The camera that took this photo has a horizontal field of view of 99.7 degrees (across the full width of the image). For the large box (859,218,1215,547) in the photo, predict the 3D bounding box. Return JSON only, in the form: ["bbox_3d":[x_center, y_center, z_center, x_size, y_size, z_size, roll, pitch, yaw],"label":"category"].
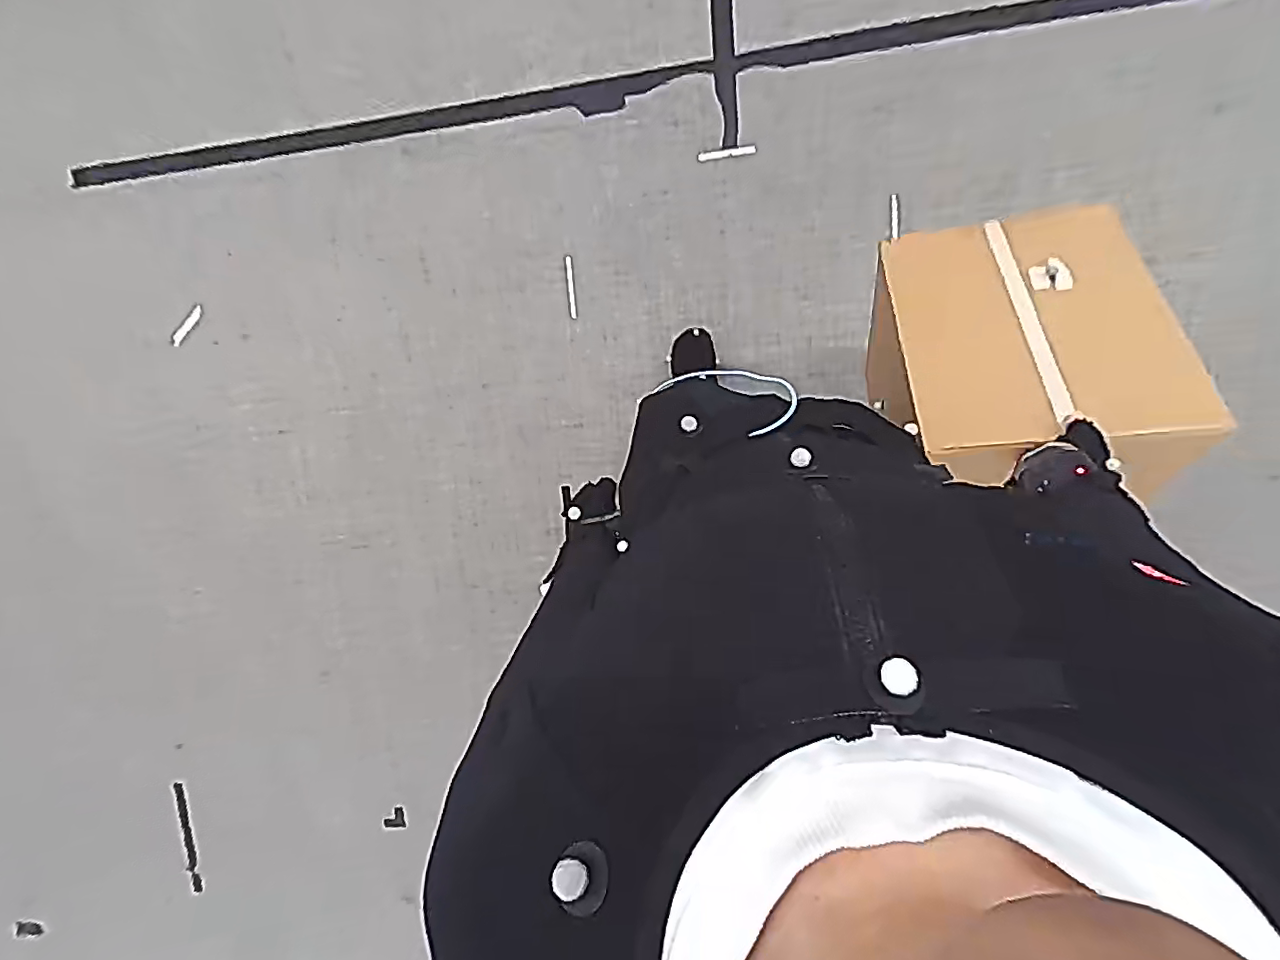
[{"bbox_3d":[0.556,-0.141,0.872,0.320,0.320,0.408,-3,57,13],"label":"large box"}]
